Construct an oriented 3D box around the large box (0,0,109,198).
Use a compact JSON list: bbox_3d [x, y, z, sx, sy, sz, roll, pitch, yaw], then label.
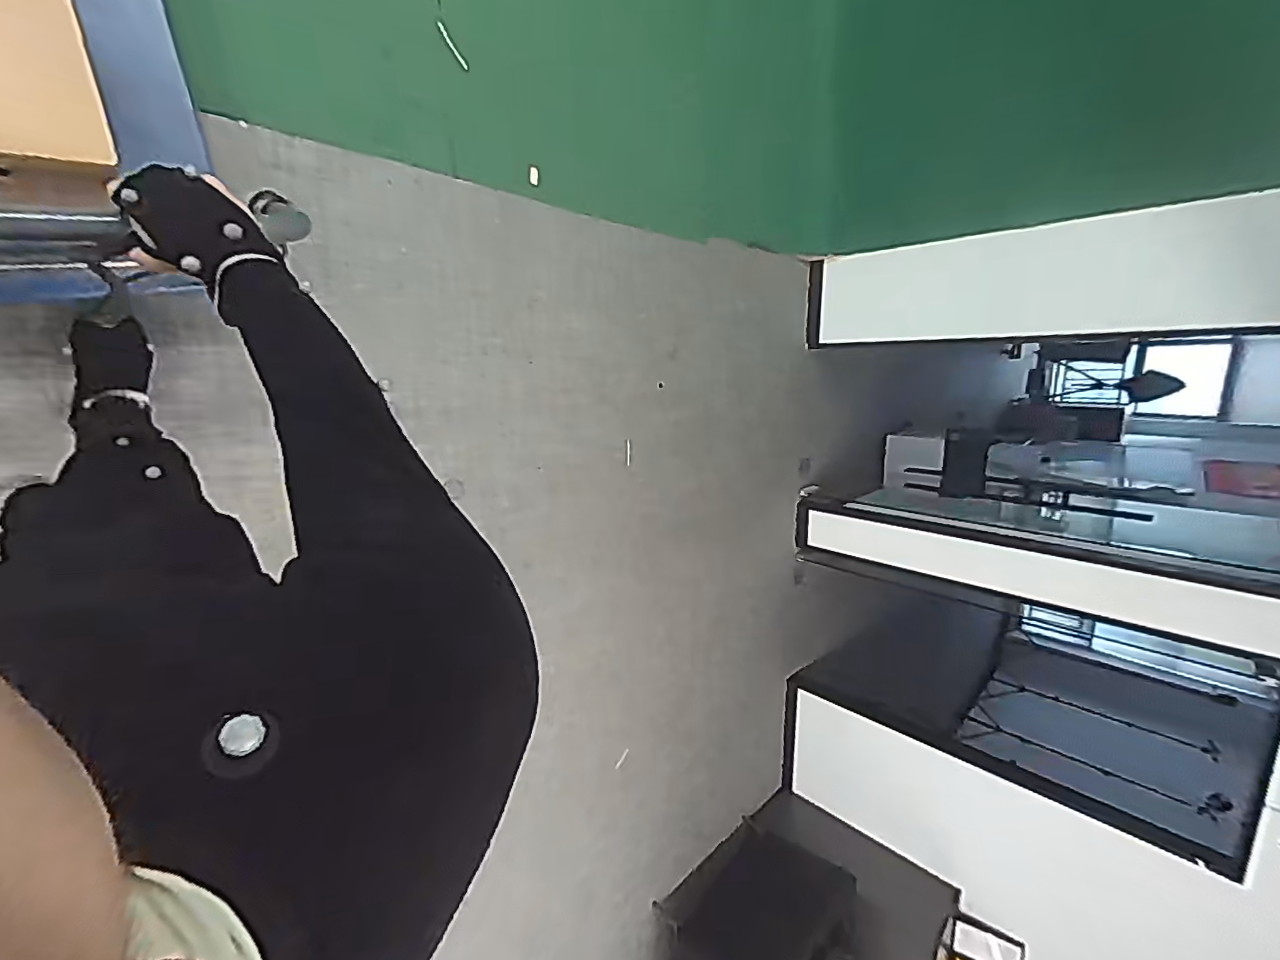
[{"bbox_3d":[-0.974,-0.632,0.712,0.320,0.320,0.408,-19,111,-42],"label":"large box"}]
